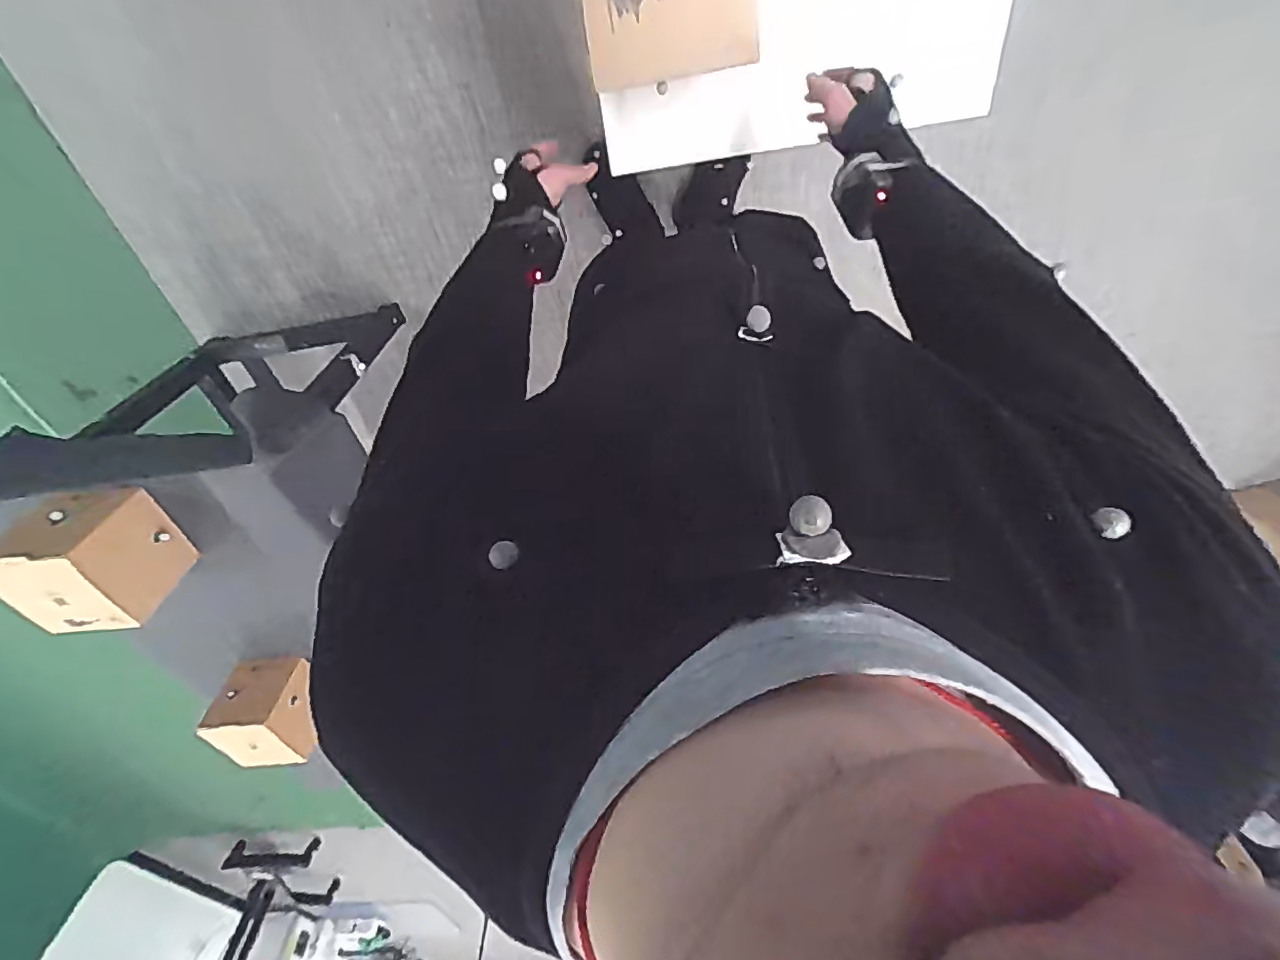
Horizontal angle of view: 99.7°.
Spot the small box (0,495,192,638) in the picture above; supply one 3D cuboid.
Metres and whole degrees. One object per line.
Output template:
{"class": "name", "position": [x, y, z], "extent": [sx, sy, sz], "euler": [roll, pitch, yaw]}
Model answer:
{"class": "small box", "position": [-0.922, 0.138, 0.906], "extent": [0.168, 0.176, 0.179], "euler": [-5, 130, 2]}

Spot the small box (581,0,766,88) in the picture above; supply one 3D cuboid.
{"class": "small box", "position": [0.026, -0.521, 0.559], "extent": [0.179, 0.176, 0.168], "euler": [-8, 130, 2]}

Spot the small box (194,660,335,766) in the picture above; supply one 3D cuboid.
{"class": "small box", "position": [-0.845, 0.528, 1.239], "extent": [0.168, 0.176, 0.179], "euler": [-7, 131, 6]}
